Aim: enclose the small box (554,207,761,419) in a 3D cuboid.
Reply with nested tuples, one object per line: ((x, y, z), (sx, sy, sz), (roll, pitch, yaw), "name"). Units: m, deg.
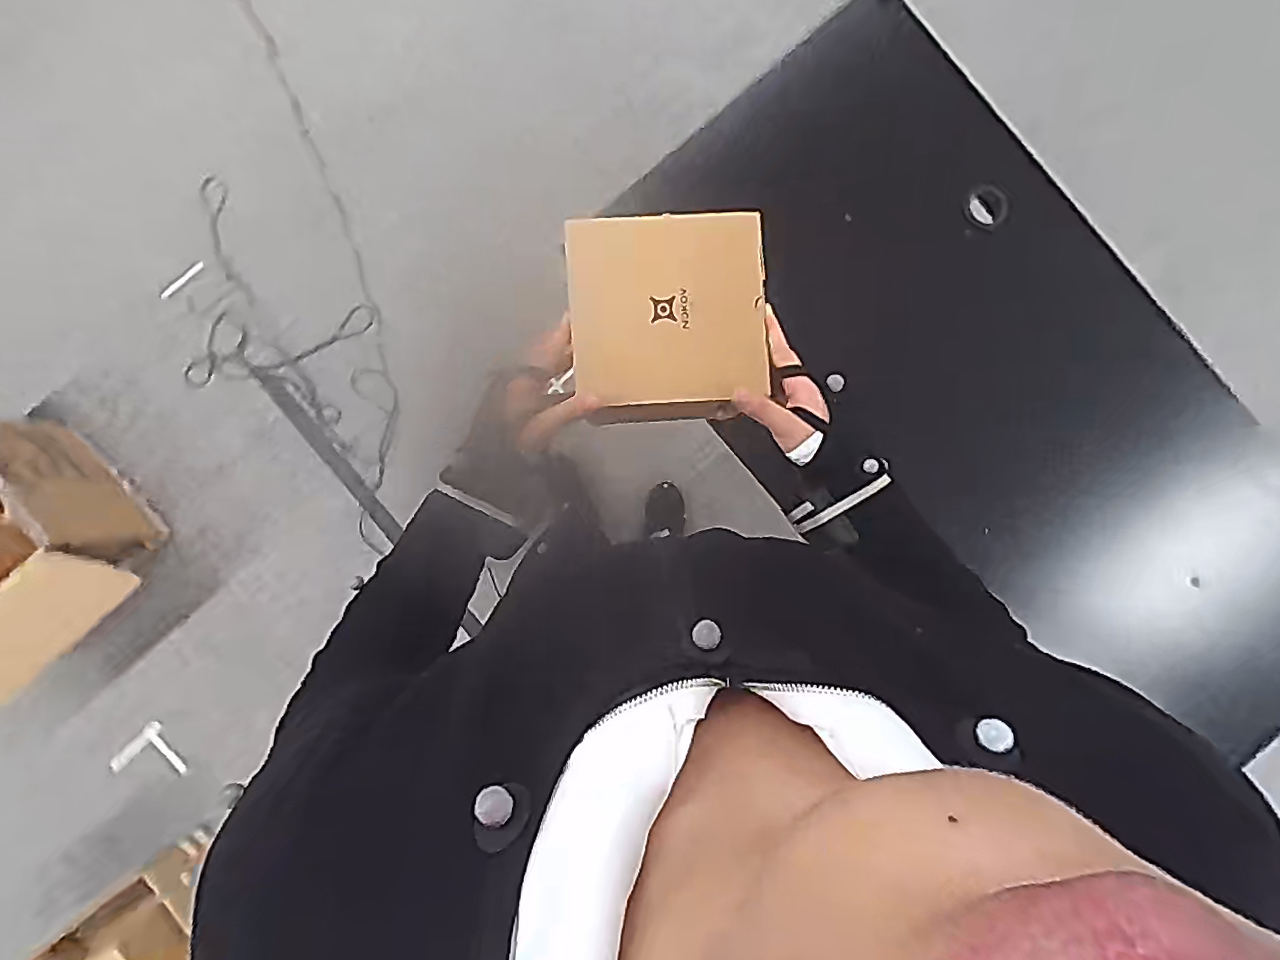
((0.012, -0.157, 0.558), (0.179, 0.176, 0.168), (-5, 91, -4), "small box")
